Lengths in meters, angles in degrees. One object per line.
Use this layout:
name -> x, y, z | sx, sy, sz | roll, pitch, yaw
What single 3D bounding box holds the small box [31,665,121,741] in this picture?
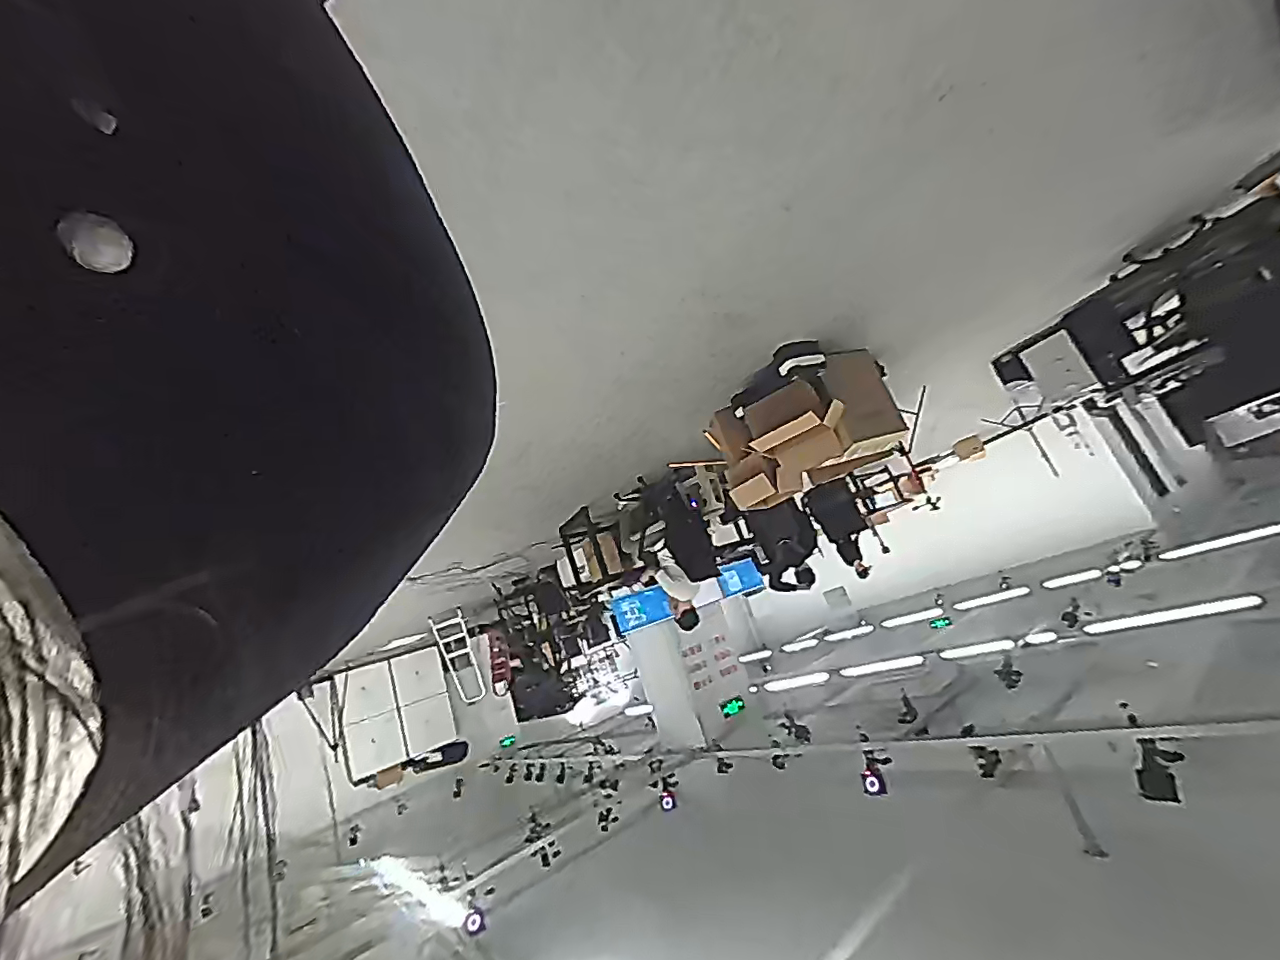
small box -> -1.818, 0.718, 1.745 | 0.179, 0.176, 0.168 | -10, 162, -37
